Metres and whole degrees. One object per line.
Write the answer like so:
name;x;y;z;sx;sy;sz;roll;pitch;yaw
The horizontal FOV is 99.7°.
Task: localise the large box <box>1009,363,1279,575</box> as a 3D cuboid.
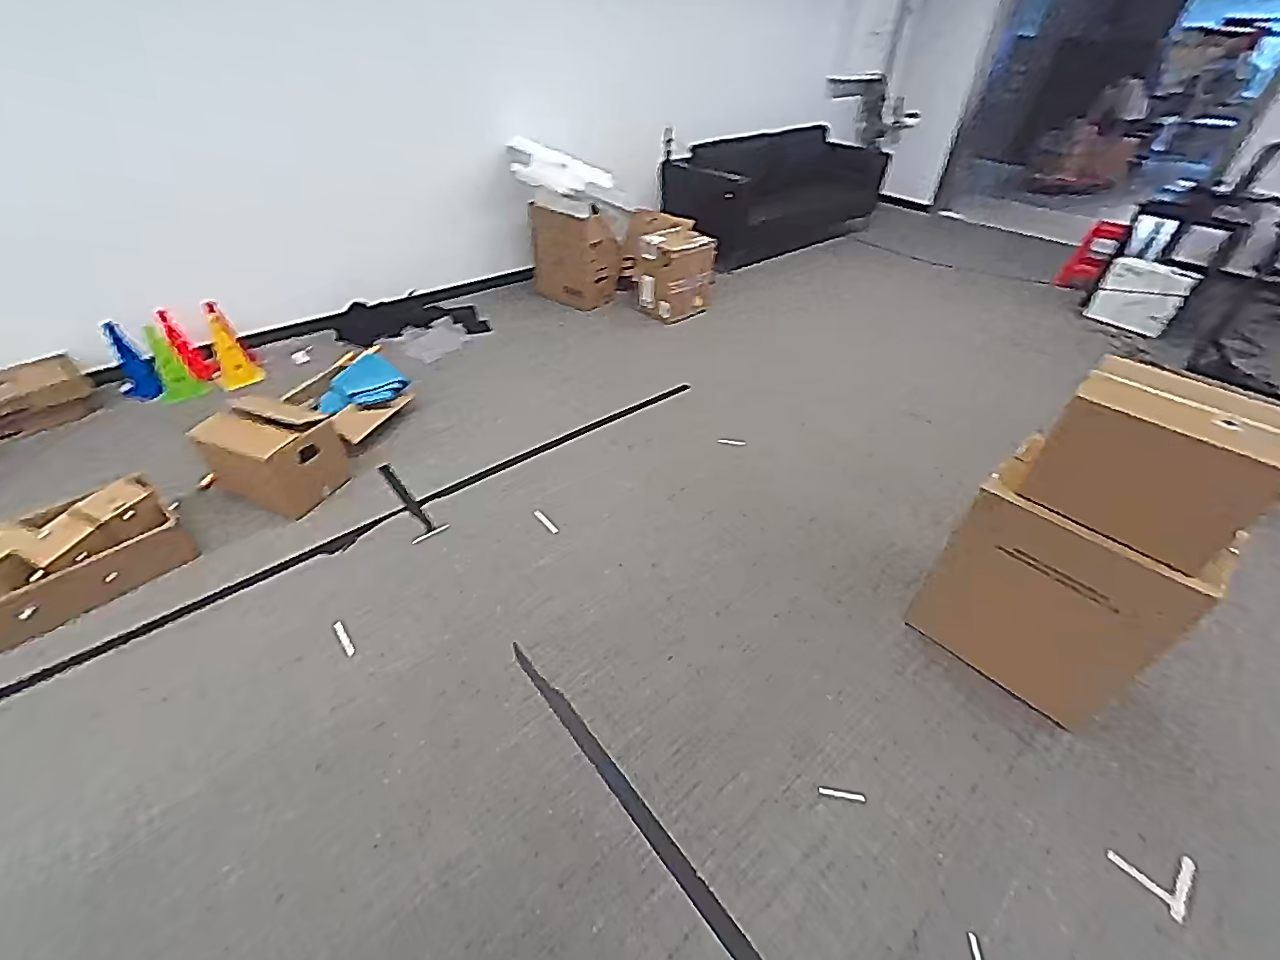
large box;1.246;-0.043;1.353;0.320;0.320;0.408;-31;50;-33
